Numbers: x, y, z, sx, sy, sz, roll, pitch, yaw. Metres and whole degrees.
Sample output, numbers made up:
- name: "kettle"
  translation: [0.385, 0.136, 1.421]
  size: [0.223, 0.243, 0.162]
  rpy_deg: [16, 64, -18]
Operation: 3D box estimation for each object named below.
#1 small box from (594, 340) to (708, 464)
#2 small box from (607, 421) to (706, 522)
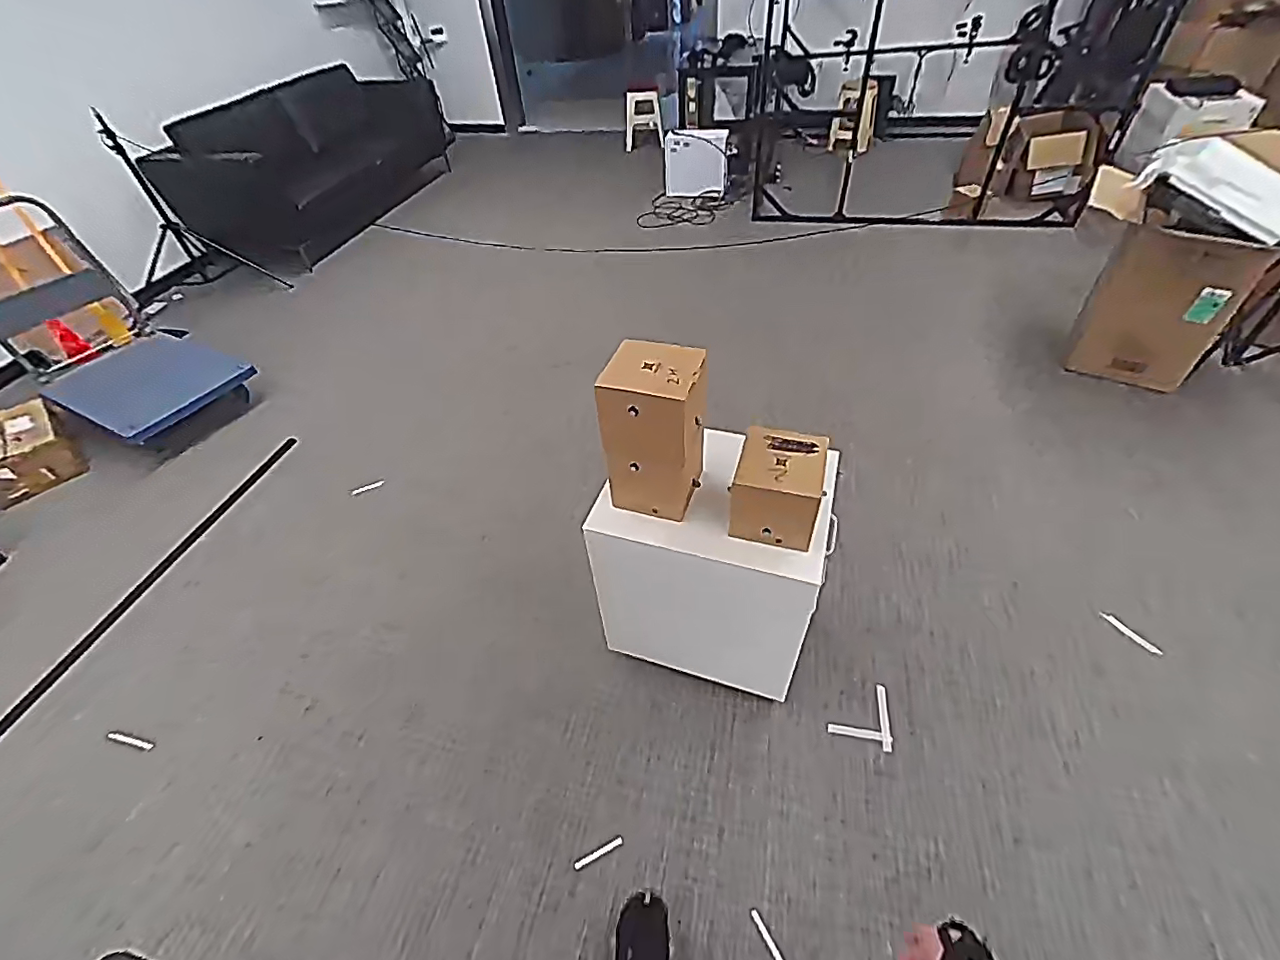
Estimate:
- name: "small box"
  translation: [0.027, -0.152, 1.066]
  size: [0.179, 0.176, 0.168]
  rpy_deg: [12, 49, 16]
- name: "small box"
  translation: [0.040, -0.039, 1.186]
  size: [0.168, 0.176, 0.179]
  rpy_deg: [12, 47, 17]
